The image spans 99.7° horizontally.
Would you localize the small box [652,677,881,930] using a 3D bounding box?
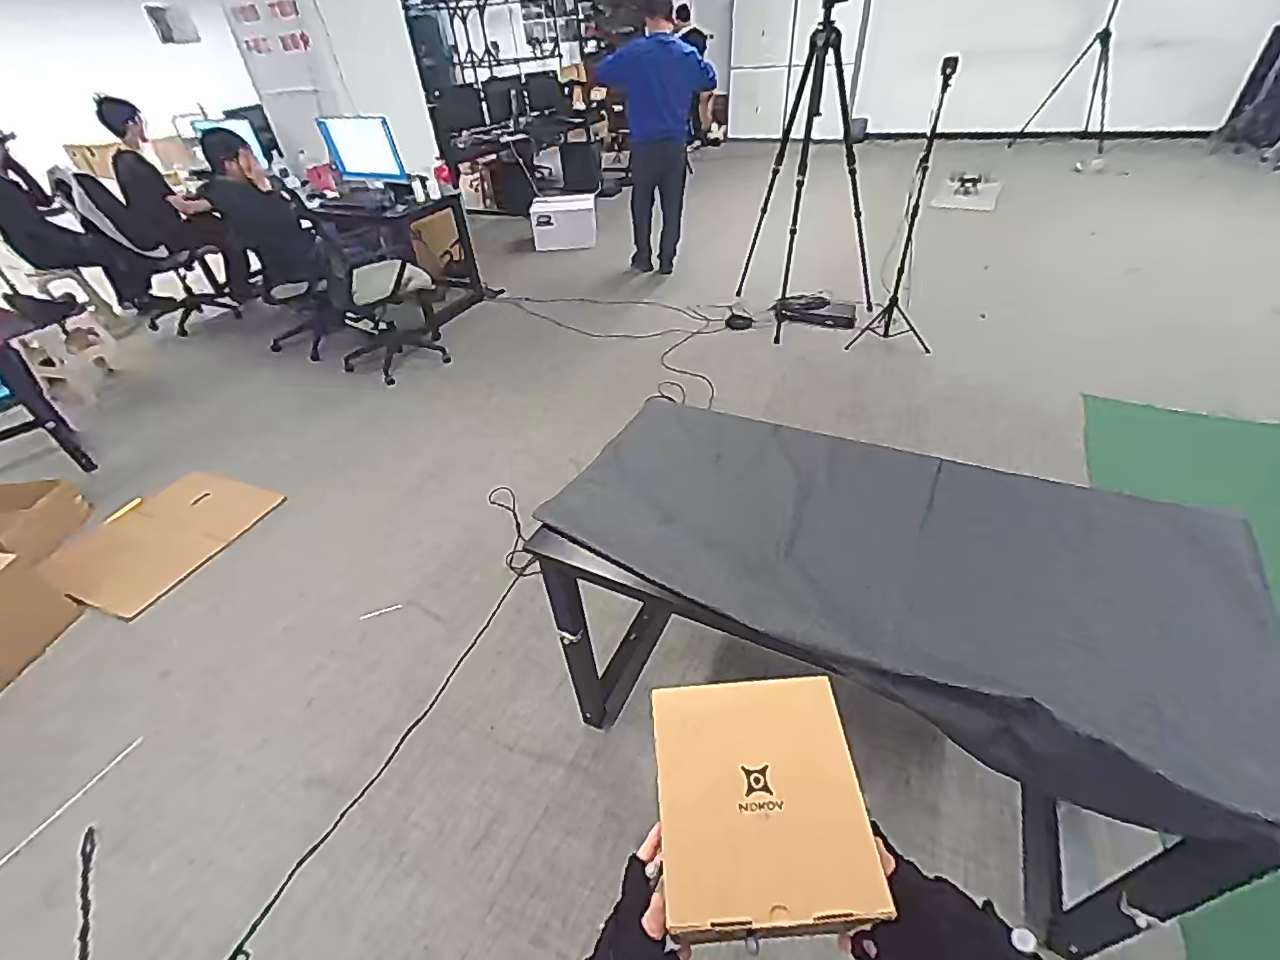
[{"bbox_3d":[0.096,0.307,0.513,0.168,0.176,0.179,-4,49,0],"label":"small box"}]
